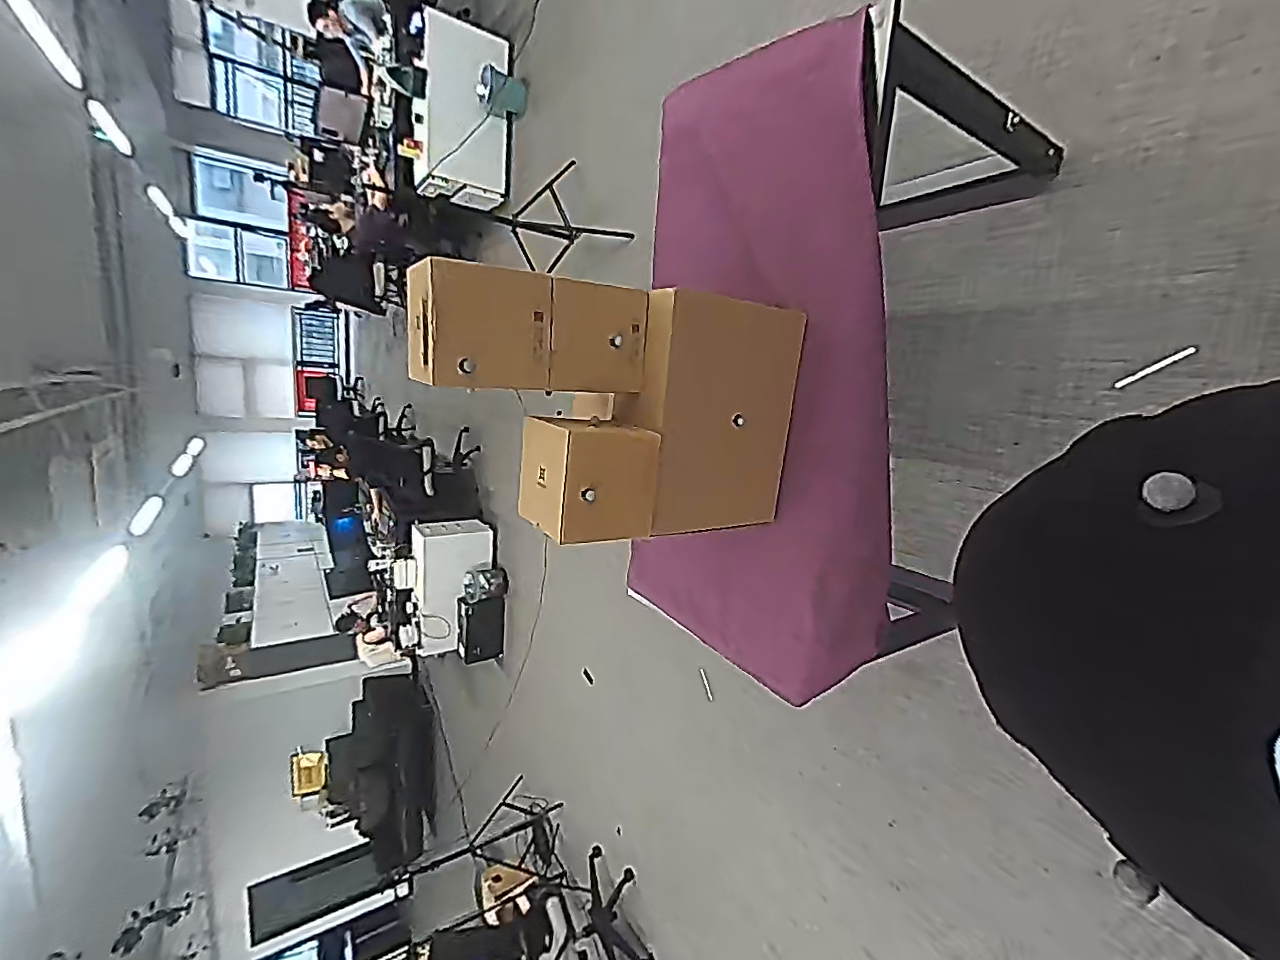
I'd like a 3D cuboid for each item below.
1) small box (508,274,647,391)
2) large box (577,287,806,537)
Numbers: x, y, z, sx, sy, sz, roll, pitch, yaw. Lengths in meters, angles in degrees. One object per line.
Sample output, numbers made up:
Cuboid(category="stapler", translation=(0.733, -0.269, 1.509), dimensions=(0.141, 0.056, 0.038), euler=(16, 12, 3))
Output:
Cuboid(category="small box", translation=(-0.109, -0.238, 0.898), dimensions=(0.179, 0.176, 0.168), euler=(22, 112, 54))
Cuboid(category="large box", translation=(0.086, -0.139, 1.057), dimensions=(0.320, 0.320, 0.408), euler=(23, 112, 56))
